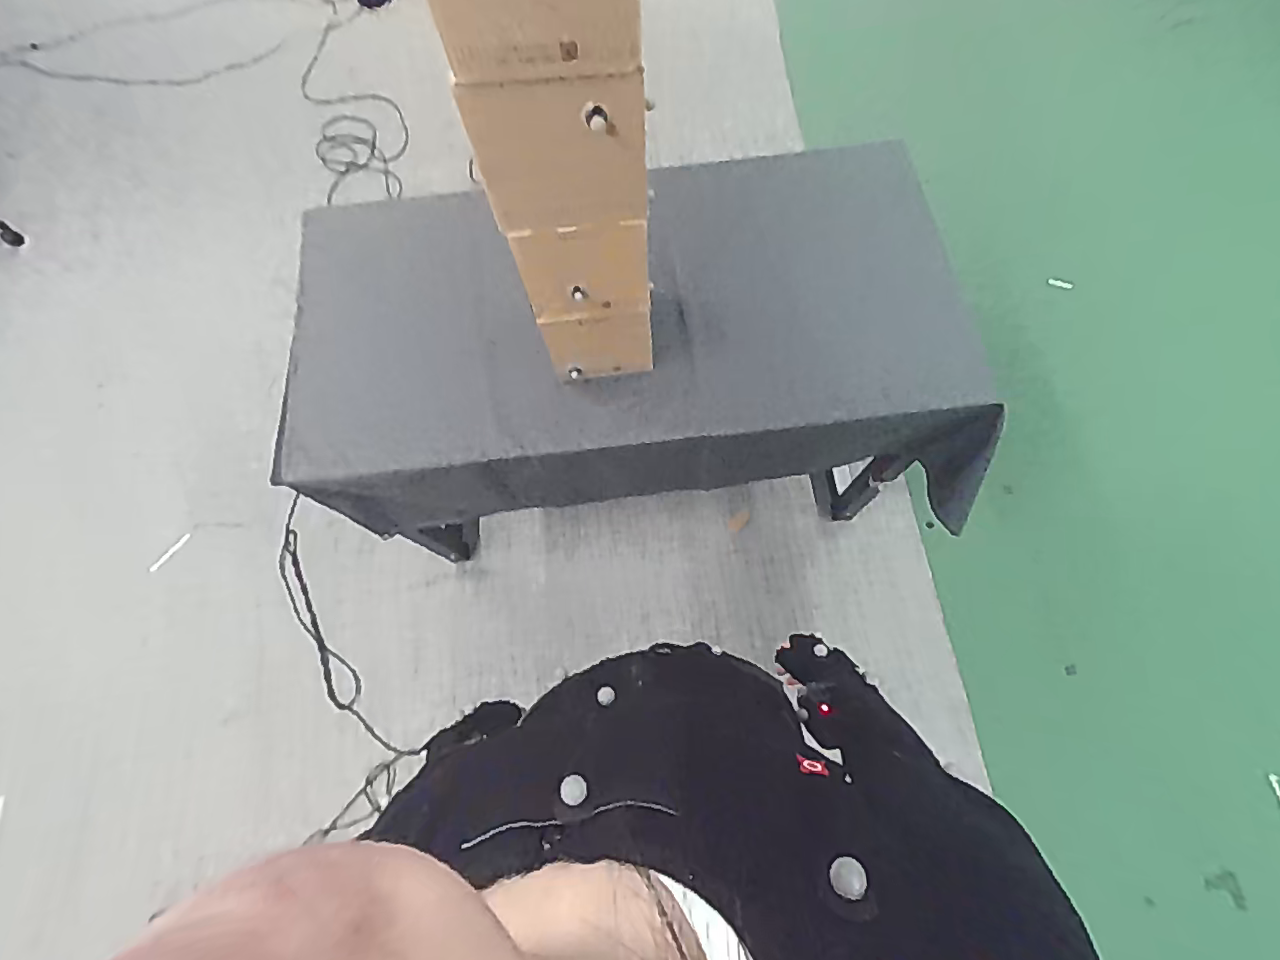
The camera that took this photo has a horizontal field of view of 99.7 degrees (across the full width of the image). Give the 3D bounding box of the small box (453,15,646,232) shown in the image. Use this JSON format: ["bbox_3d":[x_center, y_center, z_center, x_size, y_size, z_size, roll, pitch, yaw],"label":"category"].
[{"bbox_3d":[-0.085,-0.398,0.587,0.179,0.176,0.168,-5,69,1],"label":"small box"}]

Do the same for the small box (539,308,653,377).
[{"bbox_3d":[-0.070,-0.284,0.892,0.168,0.176,0.179,-7,68,1],"label":"small box"}]

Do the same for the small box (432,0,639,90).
[{"bbox_3d":[-0.088,-0.457,0.434,0.168,0.176,0.179,-4,69,1],"label":"small box"}]

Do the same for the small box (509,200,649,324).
[{"bbox_3d":[-0.078,-0.342,0.741,0.168,0.176,0.179,-7,69,1],"label":"small box"}]
